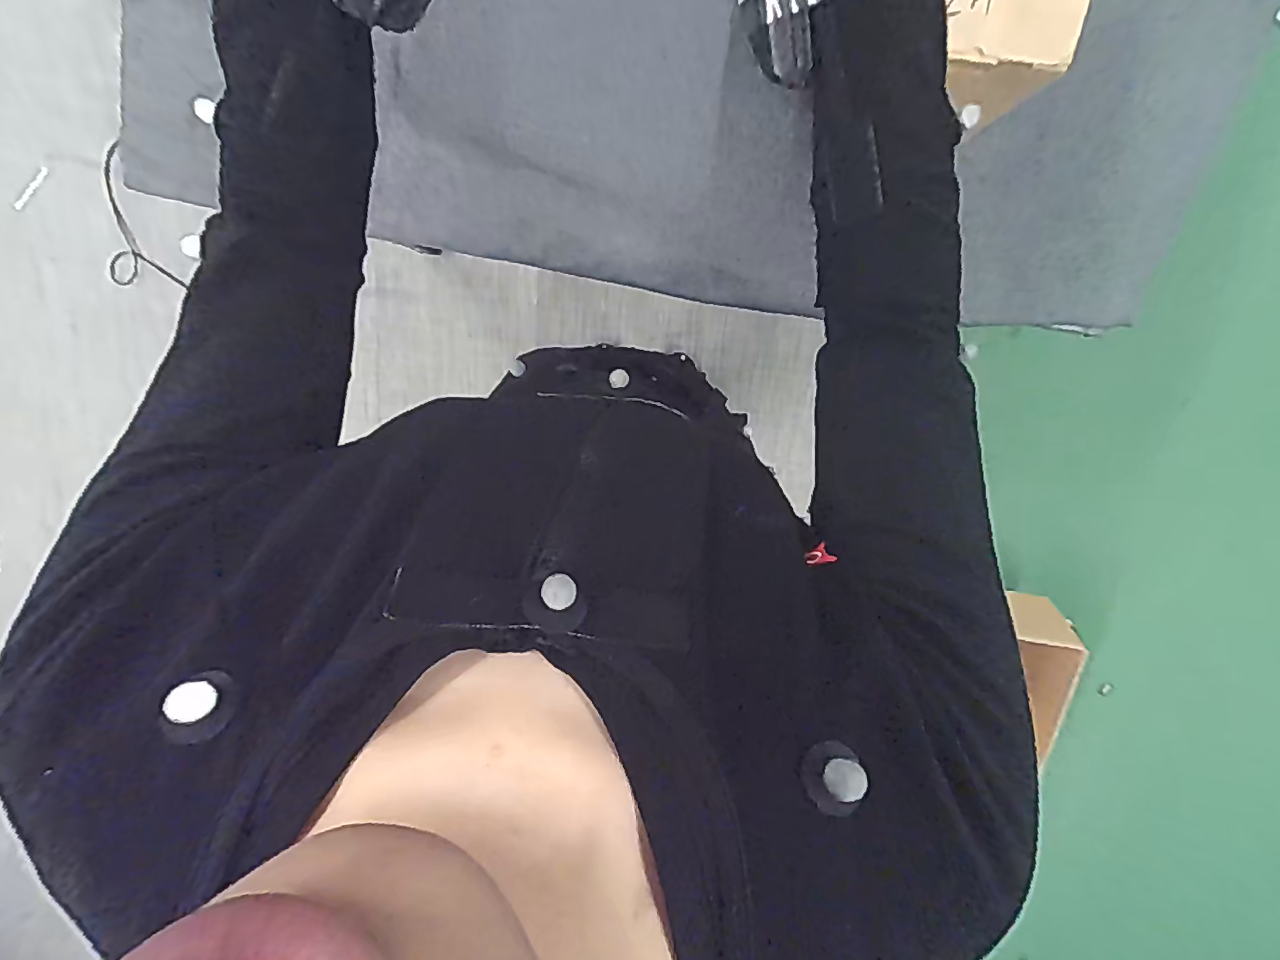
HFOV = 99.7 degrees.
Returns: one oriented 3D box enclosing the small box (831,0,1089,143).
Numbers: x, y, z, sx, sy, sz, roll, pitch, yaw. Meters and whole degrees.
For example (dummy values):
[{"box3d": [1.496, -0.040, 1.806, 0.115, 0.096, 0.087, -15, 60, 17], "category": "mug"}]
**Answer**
[{"box3d": [0.302, -0.462, 0.523, 0.168, 0.176, 0.179, 8, 104, 1], "category": "small box"}]
